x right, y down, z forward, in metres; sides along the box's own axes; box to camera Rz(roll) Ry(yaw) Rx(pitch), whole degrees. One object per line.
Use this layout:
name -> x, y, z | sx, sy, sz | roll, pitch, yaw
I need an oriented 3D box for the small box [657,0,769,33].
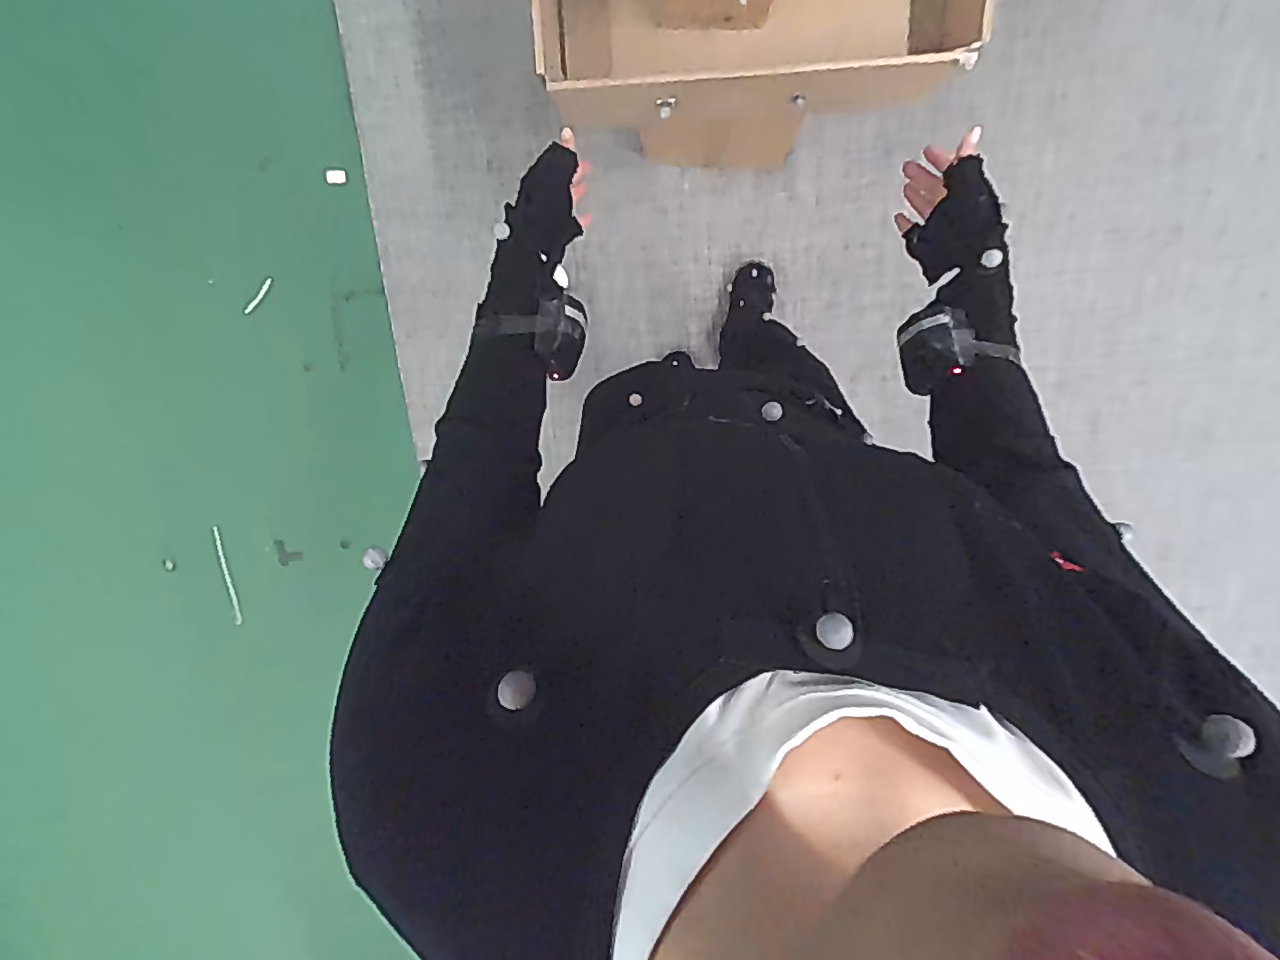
small box -> 0.109, -0.773, 0.763 | 0.168, 0.176, 0.179 | 0, 102, 0
